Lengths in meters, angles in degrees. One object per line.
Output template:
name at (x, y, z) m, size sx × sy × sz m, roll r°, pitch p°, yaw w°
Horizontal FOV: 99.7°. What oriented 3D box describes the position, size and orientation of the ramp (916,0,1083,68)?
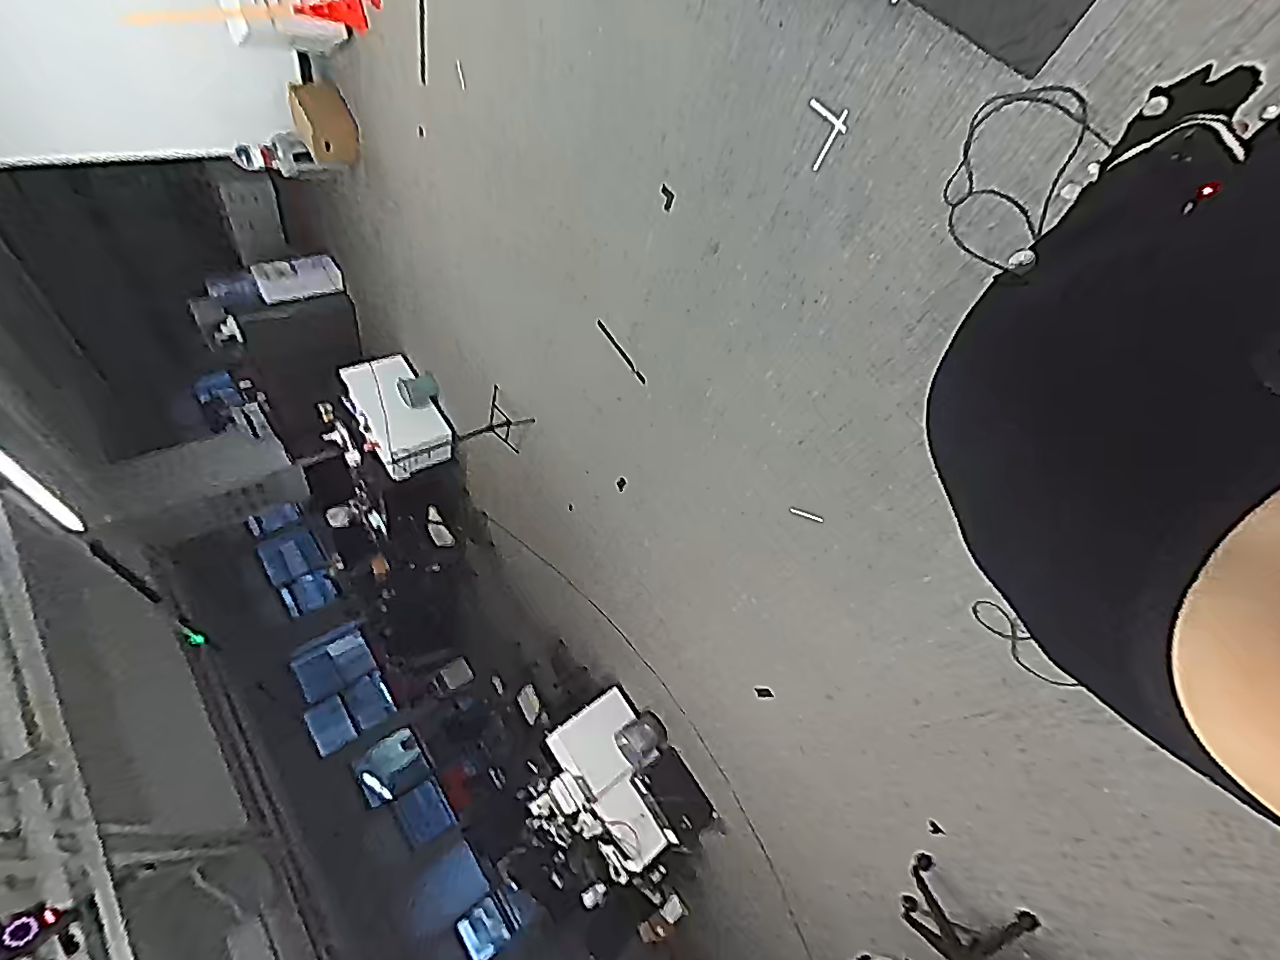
ramp at (0.512, -1.300, 0.998) m, size 0.991 × 0.206 × 0.509 m, roll 52°, pitch 145°, yaw 18°
